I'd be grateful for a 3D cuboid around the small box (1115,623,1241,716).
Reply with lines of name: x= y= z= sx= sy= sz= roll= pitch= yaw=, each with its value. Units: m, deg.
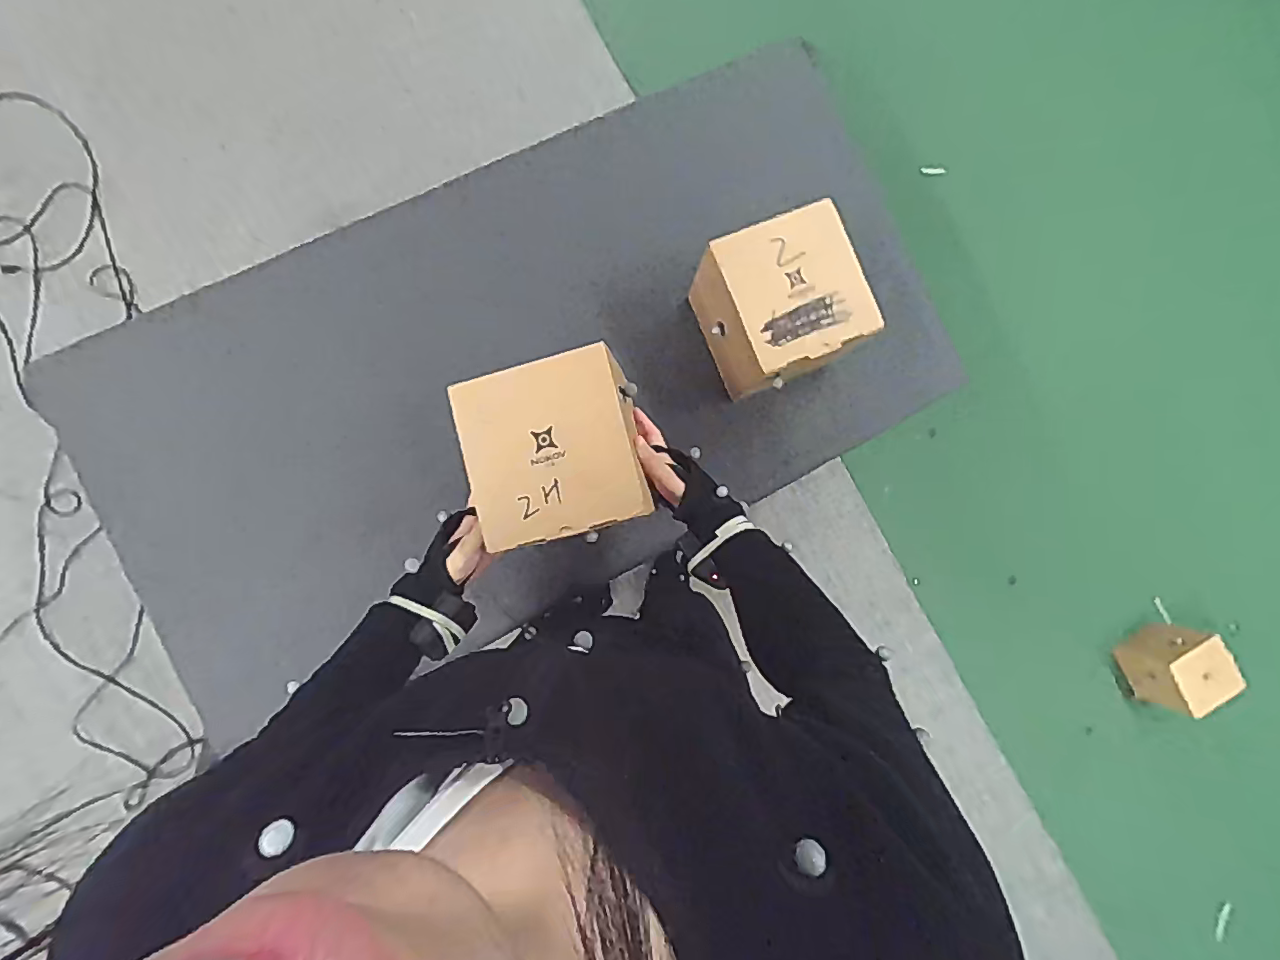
small box: x=1.518 y=0.533 z=1.543 sx=0.179 sy=0.176 sz=0.168 roll=-28 pitch=90 yaw=-7
